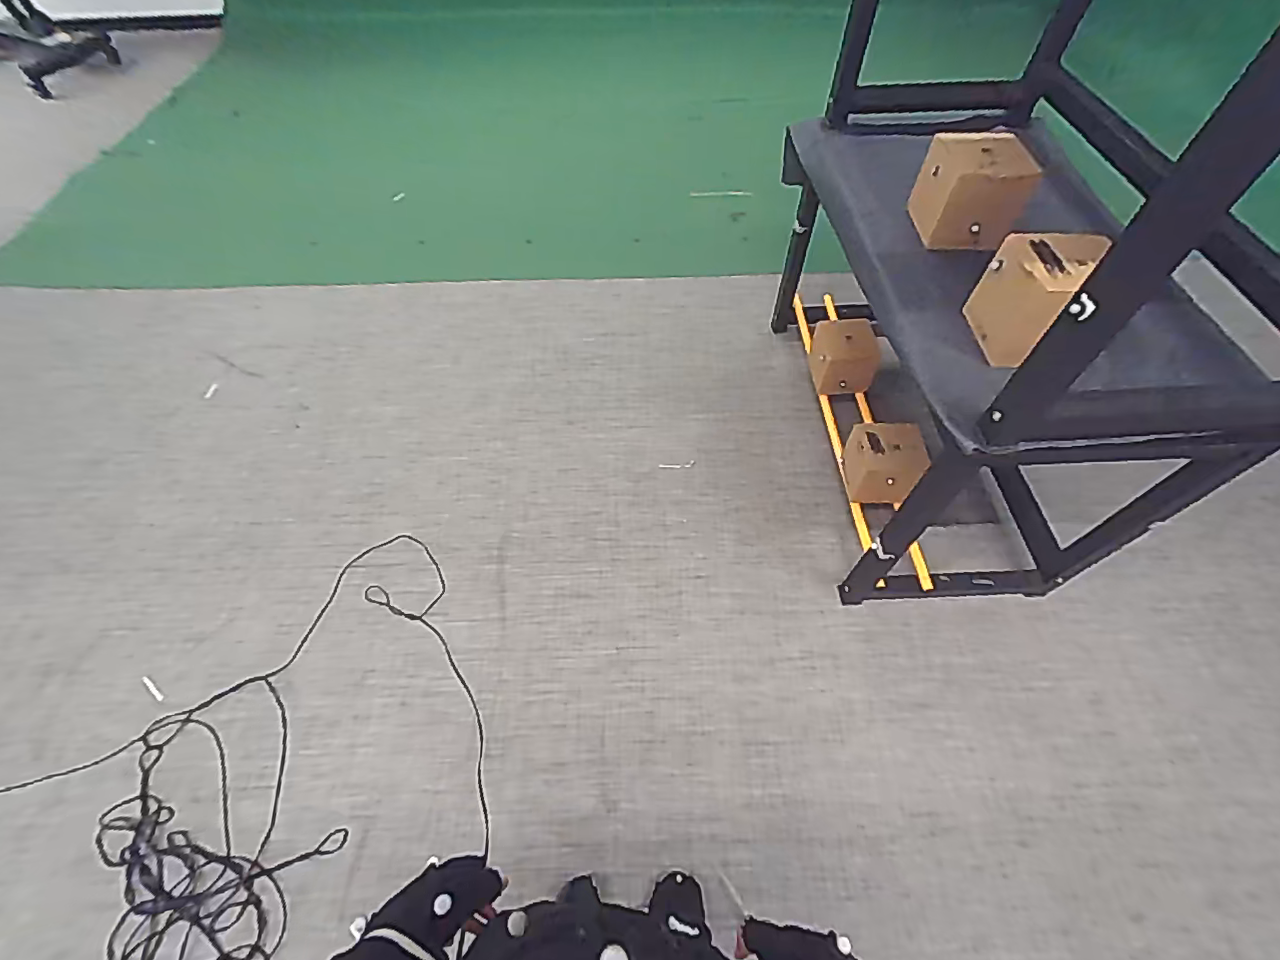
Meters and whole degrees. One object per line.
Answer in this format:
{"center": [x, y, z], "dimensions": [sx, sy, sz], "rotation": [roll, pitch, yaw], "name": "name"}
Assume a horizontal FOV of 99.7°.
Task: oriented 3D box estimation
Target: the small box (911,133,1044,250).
{"center": [0.723, -0.630, 1.184], "dimensions": [0.168, 0.176, 0.179], "rotation": [0, 56, 2], "name": "small box"}

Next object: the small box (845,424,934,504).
{"center": [0.697, -0.042, 1.539], "dimensions": [0.179, 0.176, 0.168], "rotation": [0, 56, 2], "name": "small box"}
